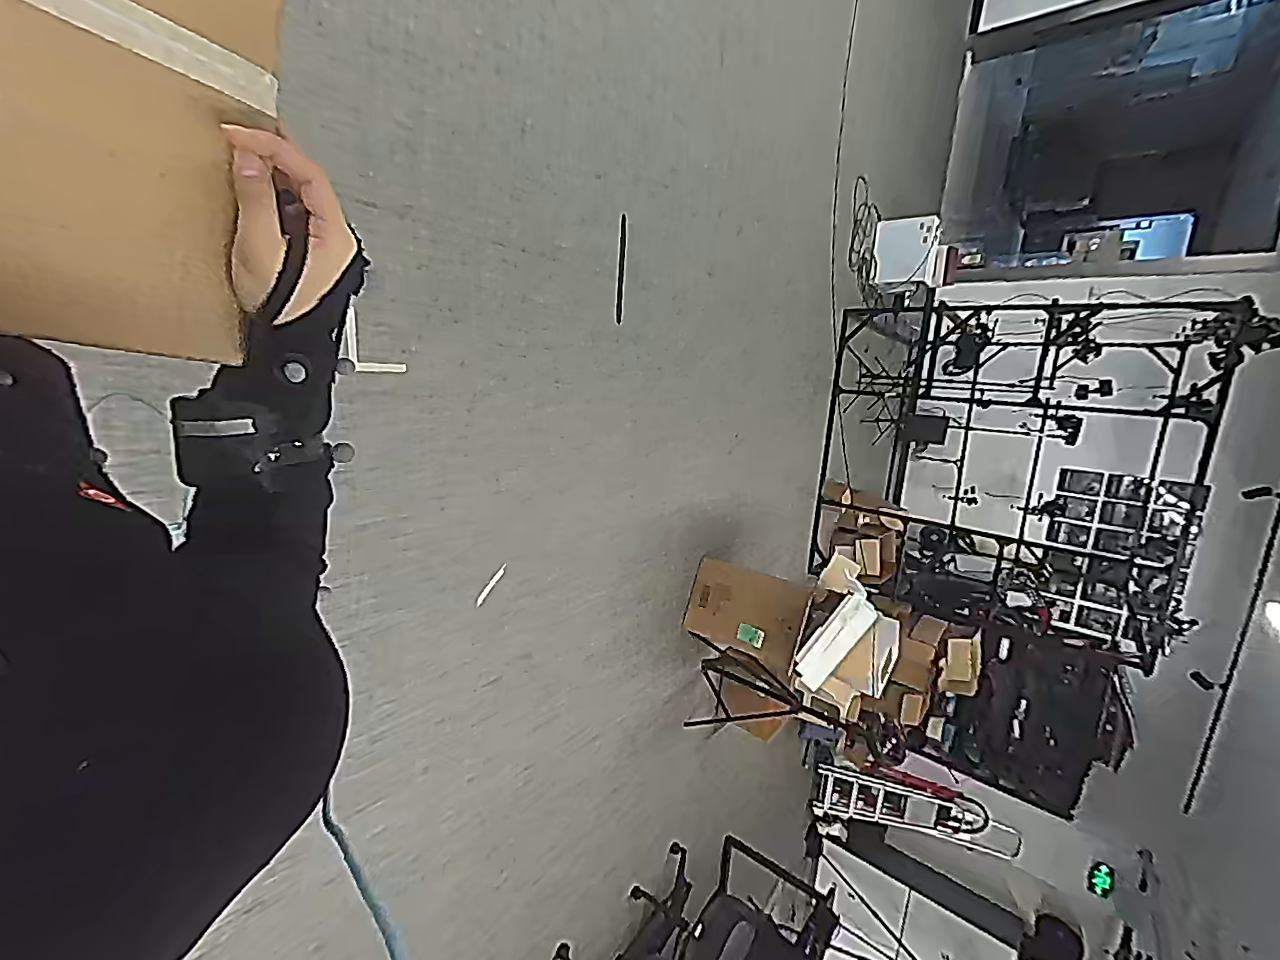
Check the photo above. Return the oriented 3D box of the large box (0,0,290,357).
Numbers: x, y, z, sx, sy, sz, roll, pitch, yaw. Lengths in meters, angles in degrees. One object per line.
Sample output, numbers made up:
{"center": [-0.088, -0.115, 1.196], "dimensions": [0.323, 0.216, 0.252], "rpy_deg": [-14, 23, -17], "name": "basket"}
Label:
{"center": [-0.453, -0.263, 0.254], "dimensions": [0.408, 0.320, 0.320], "rpy_deg": [-1, 108, -53], "name": "large box"}
